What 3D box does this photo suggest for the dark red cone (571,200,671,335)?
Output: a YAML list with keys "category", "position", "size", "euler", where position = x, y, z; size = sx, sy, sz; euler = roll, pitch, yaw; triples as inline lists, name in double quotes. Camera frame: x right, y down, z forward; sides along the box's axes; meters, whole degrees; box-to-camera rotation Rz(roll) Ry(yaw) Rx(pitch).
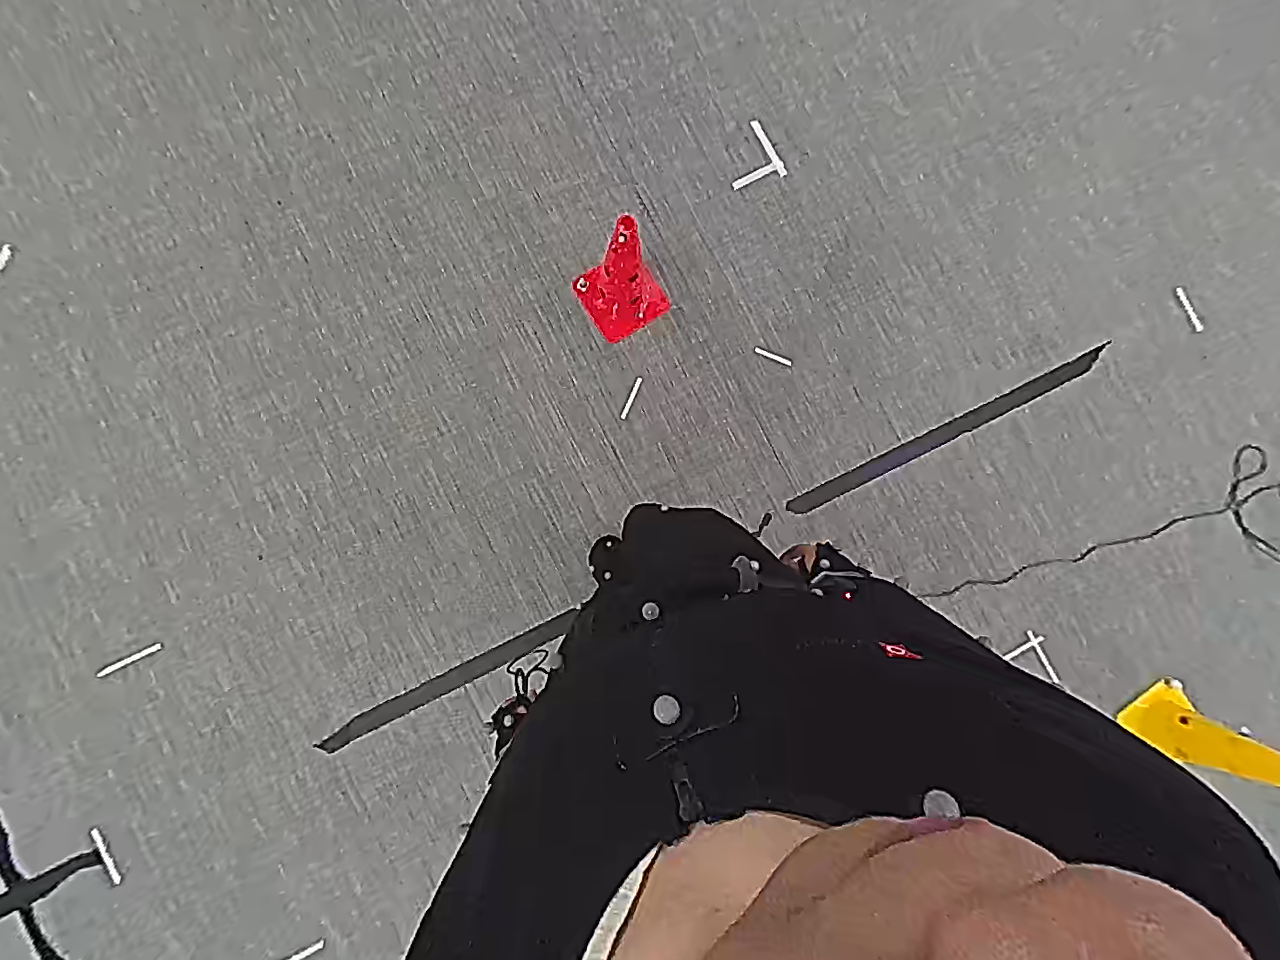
- category: "dark red cone"
  position: [-0.036, -0.500, 1.216]
  size: [0.202, 0.394, 0.201]
  euler: [-34, 90, -5]
